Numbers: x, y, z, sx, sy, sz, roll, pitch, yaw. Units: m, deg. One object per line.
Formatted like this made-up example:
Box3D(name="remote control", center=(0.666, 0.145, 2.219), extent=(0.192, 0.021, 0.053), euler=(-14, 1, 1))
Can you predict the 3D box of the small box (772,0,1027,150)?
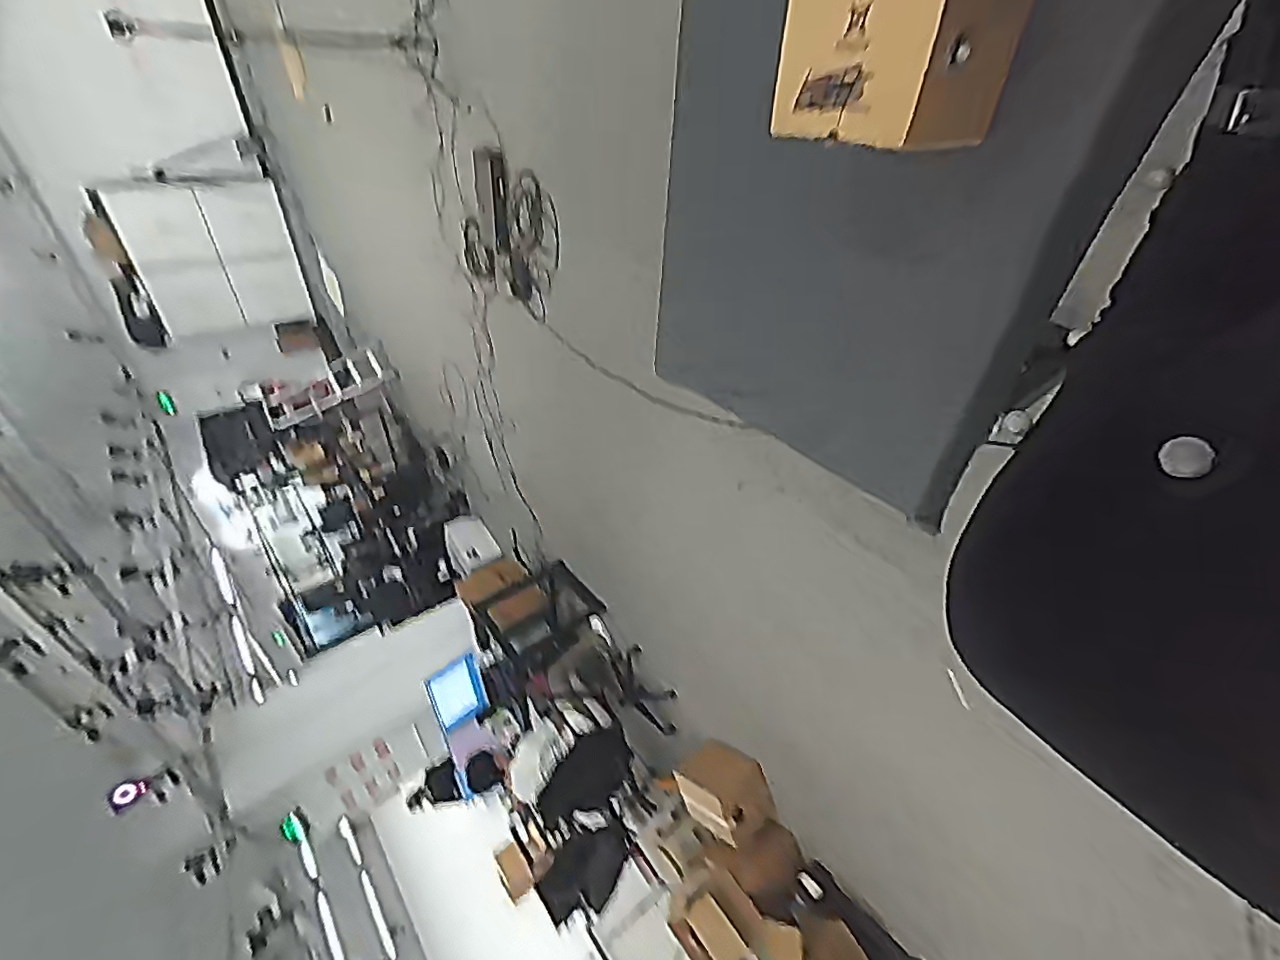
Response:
Box3D(name="small box", center=(0.265, -0.454, 0.555), extent=(0.168, 0.176, 0.179), euler=(38, 140, 37))
